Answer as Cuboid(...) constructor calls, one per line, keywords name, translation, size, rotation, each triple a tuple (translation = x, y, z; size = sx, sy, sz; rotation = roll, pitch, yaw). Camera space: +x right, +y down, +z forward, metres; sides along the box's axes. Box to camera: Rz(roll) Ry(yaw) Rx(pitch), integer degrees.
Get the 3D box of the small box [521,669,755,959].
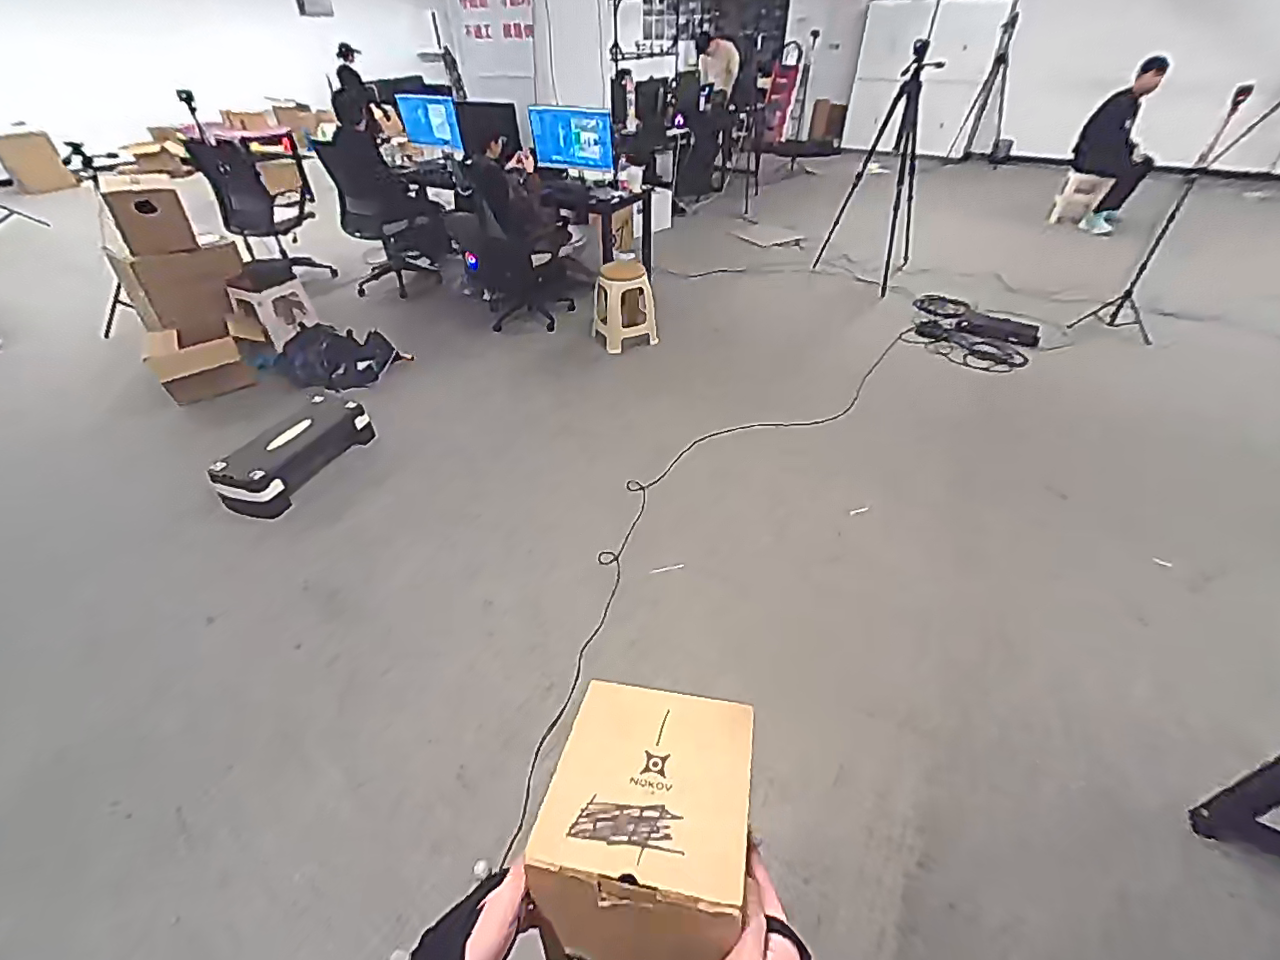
Cuboid(name="small box", translation=(0.013, 0.309, 0.493), size=(0.168, 0.176, 0.179), rotation=(5, 29, 13))
